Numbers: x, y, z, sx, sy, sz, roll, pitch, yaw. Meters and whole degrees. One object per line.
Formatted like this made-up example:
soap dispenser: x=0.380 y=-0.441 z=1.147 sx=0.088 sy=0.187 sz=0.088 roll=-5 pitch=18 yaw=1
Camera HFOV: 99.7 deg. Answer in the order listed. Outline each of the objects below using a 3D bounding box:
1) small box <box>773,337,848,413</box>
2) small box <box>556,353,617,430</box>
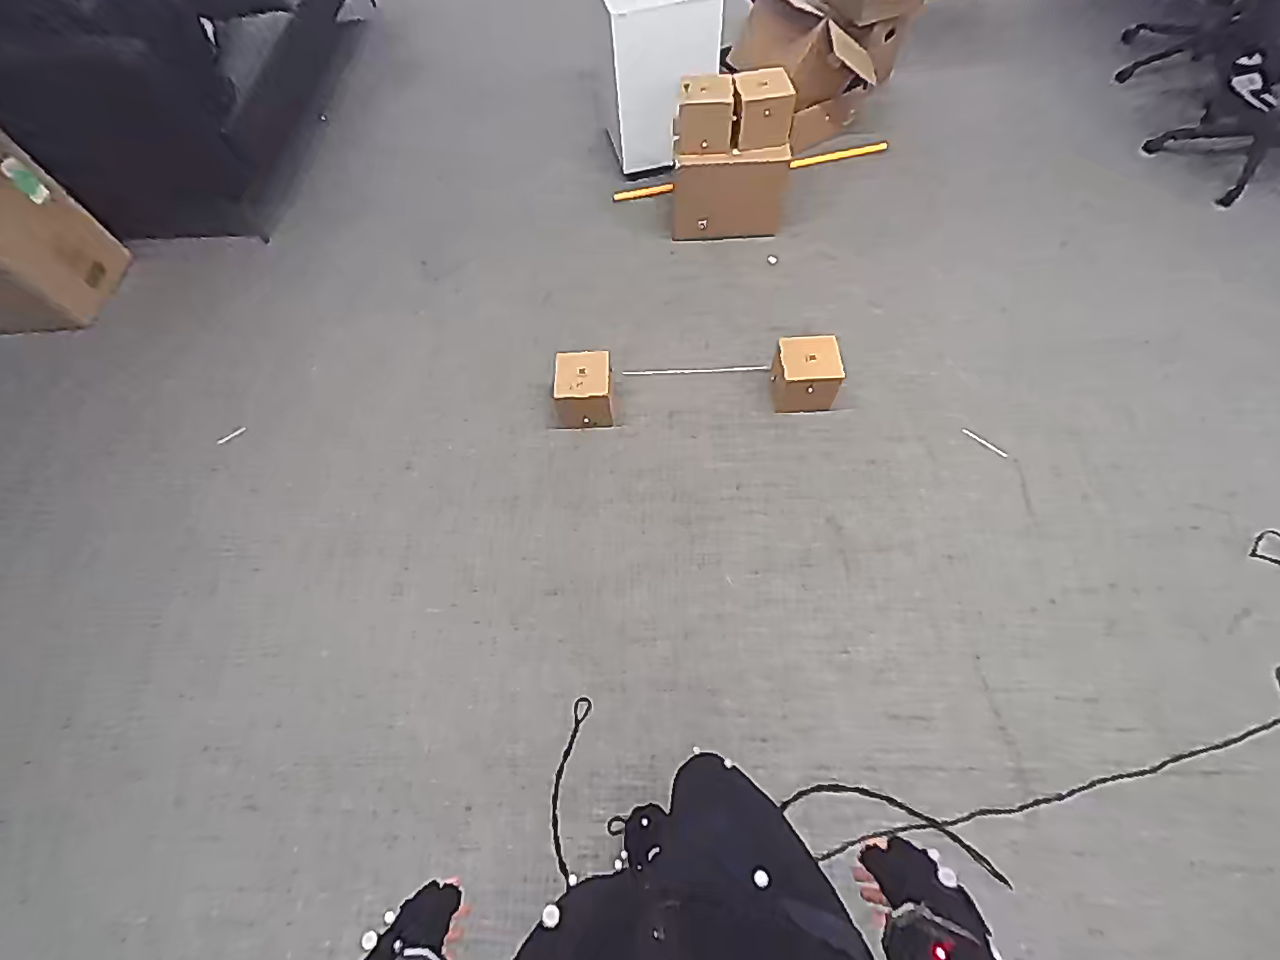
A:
small box: x=0.520 y=-0.320 z=1.669 sx=0.179 sy=0.176 sz=0.168 roll=-3 pitch=62 yaw=3
small box: x=-0.164 y=-0.275 z=1.694 sx=0.168 sy=0.176 sz=0.179 roll=-3 pitch=62 yaw=3
